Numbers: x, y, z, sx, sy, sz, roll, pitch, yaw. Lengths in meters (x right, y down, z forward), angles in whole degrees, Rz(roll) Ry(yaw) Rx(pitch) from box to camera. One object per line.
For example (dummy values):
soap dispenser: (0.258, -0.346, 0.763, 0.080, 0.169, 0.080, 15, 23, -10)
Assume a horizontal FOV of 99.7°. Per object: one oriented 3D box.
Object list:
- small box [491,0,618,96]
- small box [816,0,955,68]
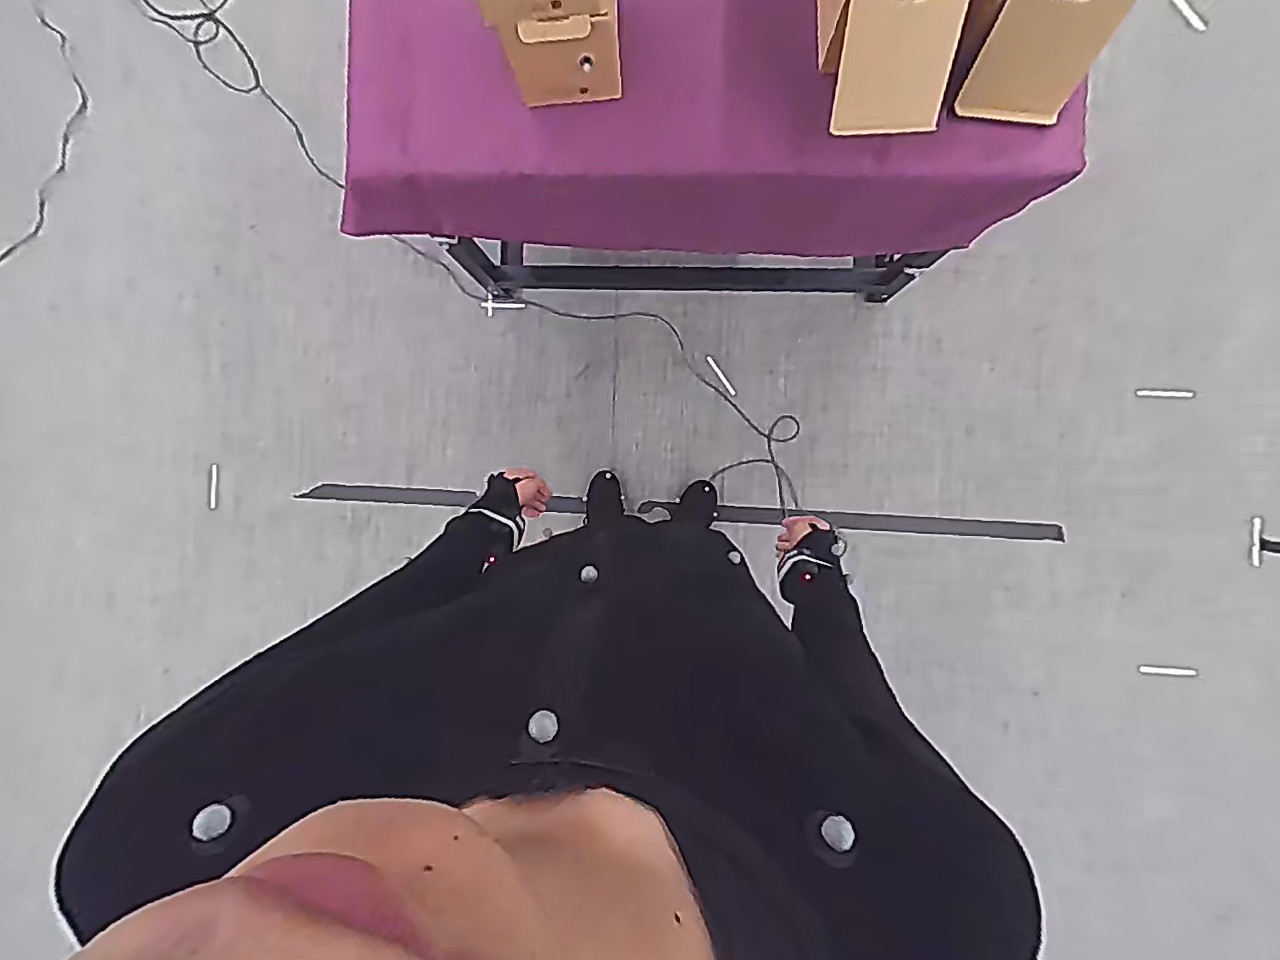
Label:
small box: (-0.123, -0.724, 0.826, 0.168, 0.176, 0.179, -2, 90, 2)
small box: (0.363, -0.758, 0.798, 0.168, 0.176, 0.179, -1, 91, 4)
